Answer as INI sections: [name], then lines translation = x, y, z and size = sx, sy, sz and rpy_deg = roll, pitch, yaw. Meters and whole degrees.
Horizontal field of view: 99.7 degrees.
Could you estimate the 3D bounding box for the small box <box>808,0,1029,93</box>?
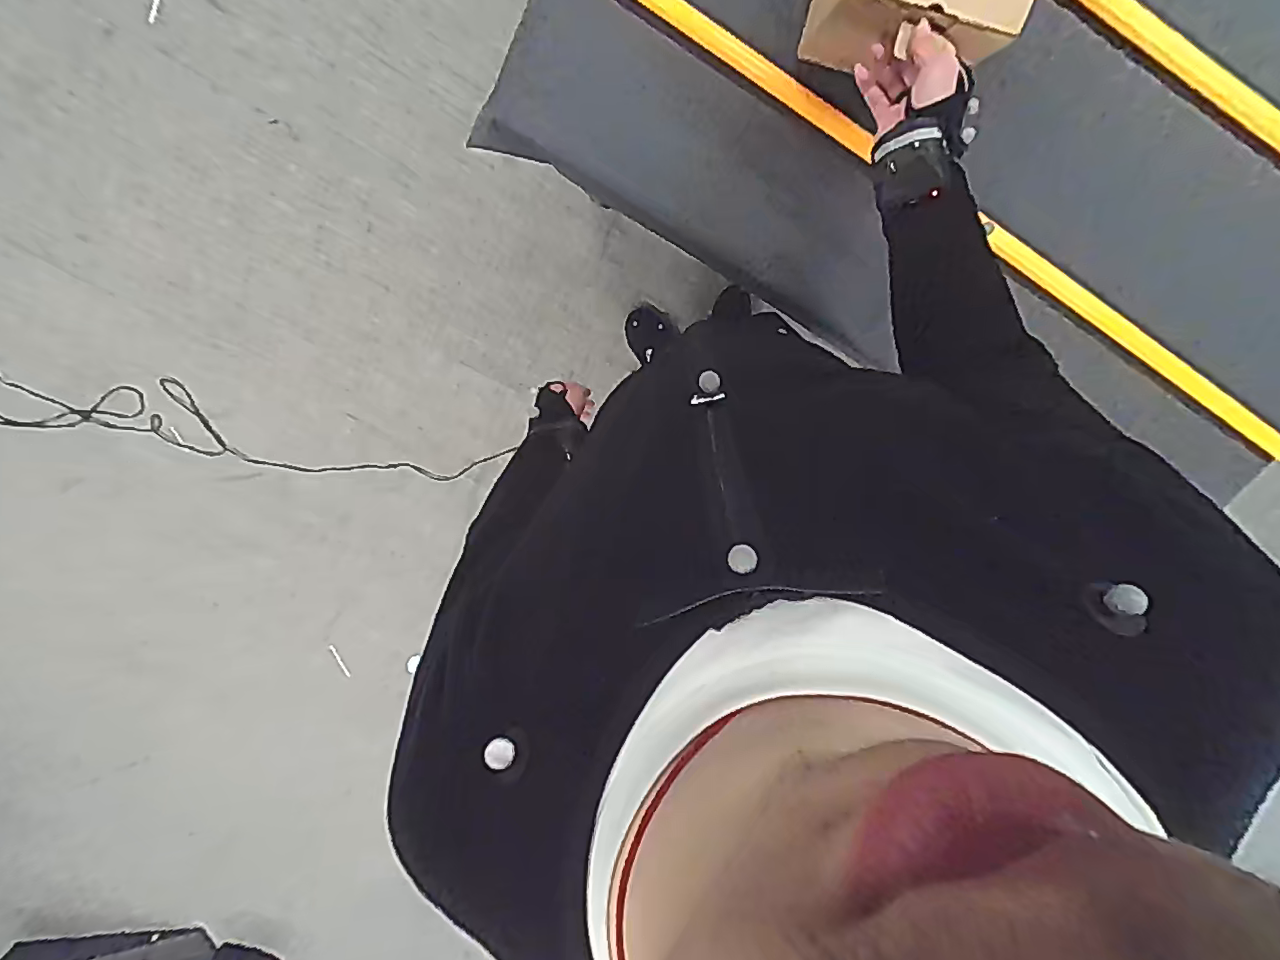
[small box]
translation = 0.285, -0.524, 0.544
size = 0.168, 0.176, 0.179
rpy_deg = 10, 111, -3
